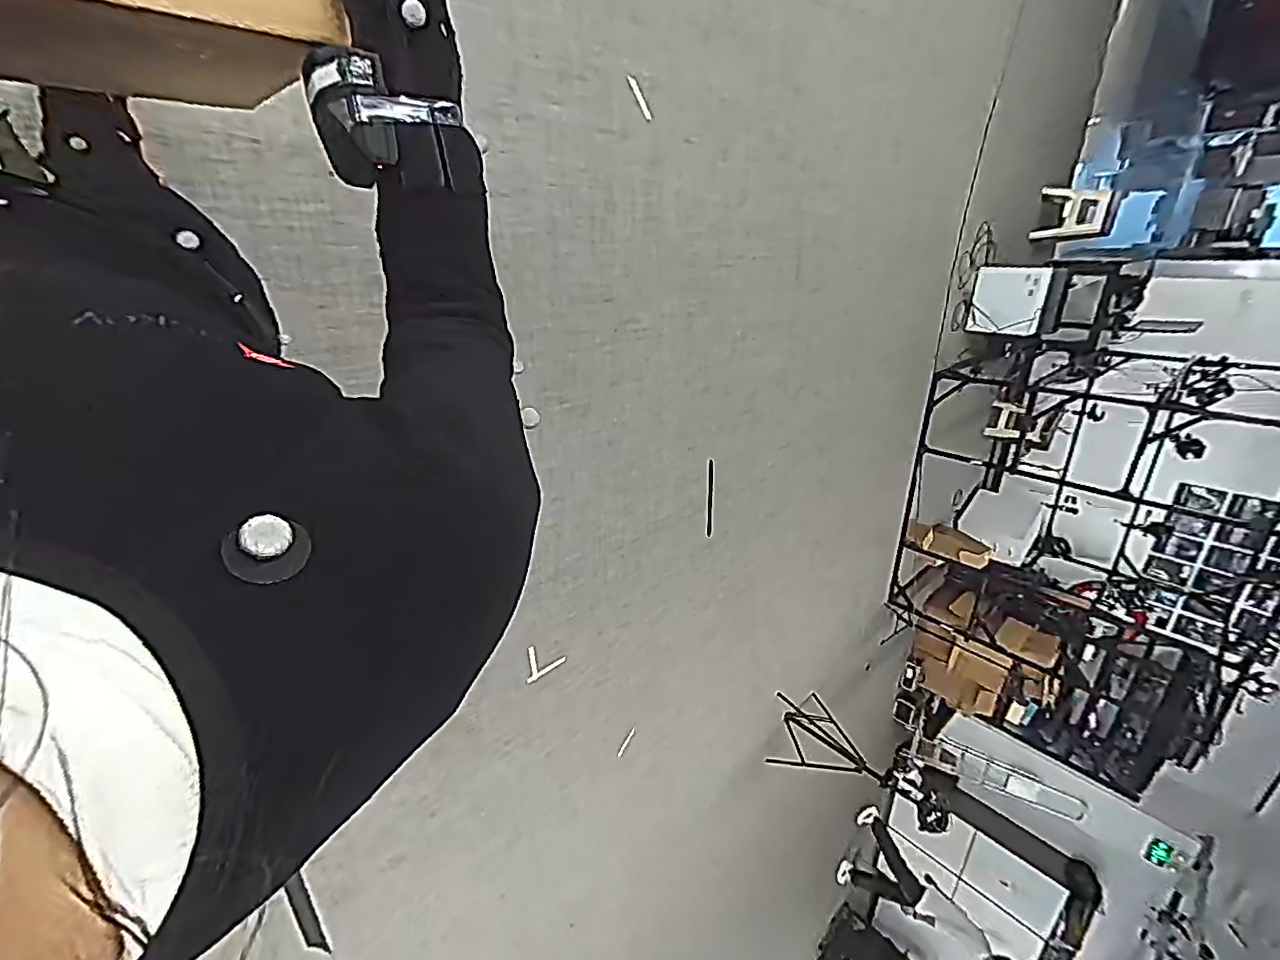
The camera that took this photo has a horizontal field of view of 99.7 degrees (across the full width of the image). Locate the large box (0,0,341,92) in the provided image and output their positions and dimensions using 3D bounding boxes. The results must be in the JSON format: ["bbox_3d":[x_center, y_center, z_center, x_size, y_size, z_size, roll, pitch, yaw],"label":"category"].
[{"bbox_3d":[-0.426,-0.400,0.238,0.408,0.320,0.320,-22,126,-39],"label":"large box"}]
